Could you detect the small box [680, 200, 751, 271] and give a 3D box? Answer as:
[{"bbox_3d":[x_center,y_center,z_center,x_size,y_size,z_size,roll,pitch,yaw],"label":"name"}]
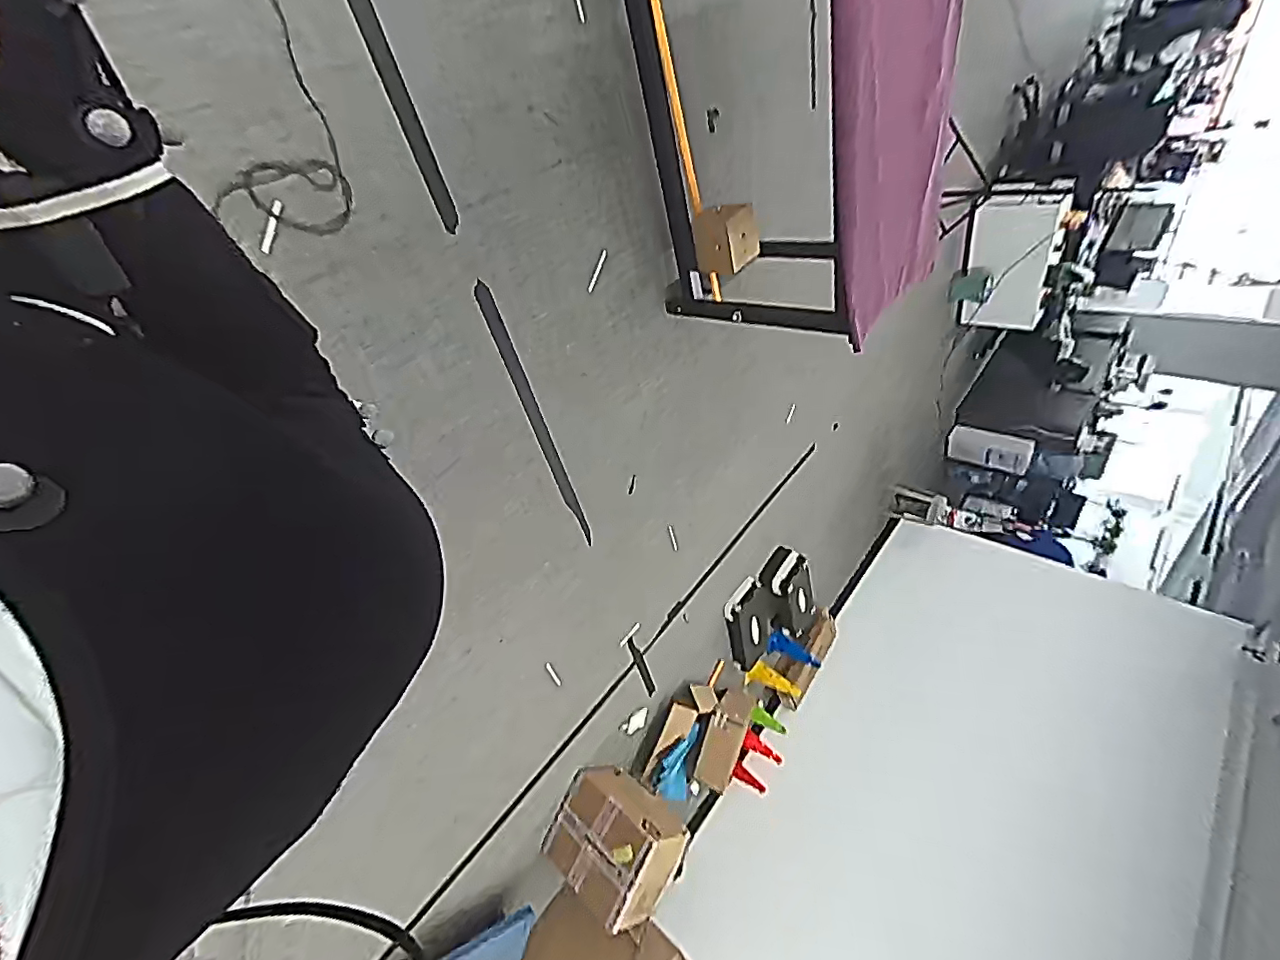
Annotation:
[{"bbox_3d":[0.258,-0.836,1.855,0.168,0.176,0.179,-44,135,-27],"label":"small box"}]
